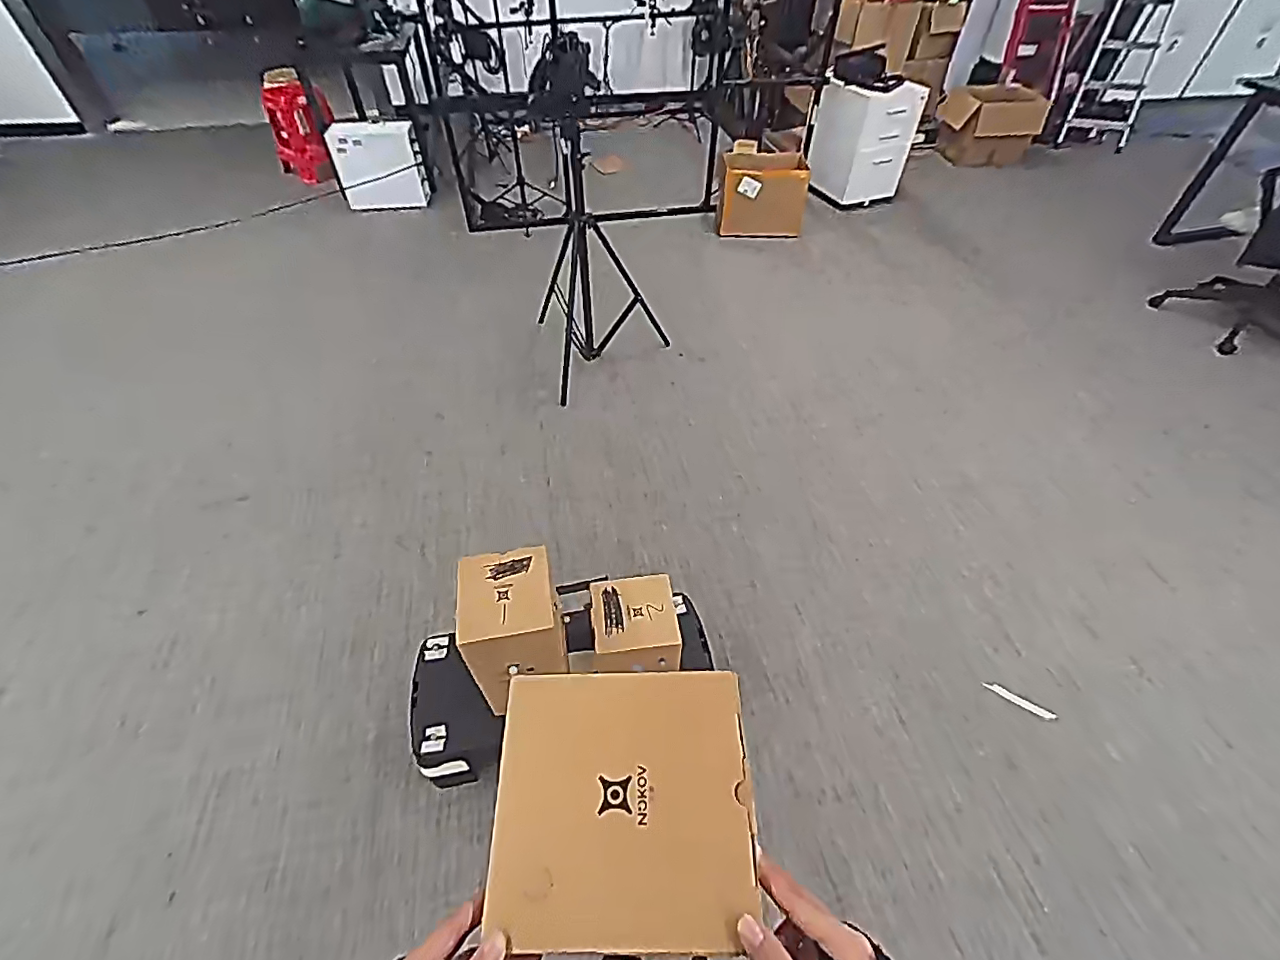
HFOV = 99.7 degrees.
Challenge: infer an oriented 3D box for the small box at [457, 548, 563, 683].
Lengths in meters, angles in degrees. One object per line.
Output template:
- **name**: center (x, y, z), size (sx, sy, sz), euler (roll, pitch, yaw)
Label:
- **small box**: center (-0.241, 0.256, 1.024), size (0.168, 0.176, 0.179), euler (-8, 48, -7)

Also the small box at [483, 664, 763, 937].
- **small box**: center (-0.007, 0.257, 0.439), size (0.179, 0.176, 0.168), euler (-2, 55, 2)

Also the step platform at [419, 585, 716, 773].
- **step platform**: center (-0.162, 0.461, 1.295), size (0.684, 0.204, 0.286), euler (-9, 48, -8)

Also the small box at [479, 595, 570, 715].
- **small box**: center (-0.239, 0.369, 1.144), size (0.168, 0.176, 0.179), euler (-8, 48, -7)
